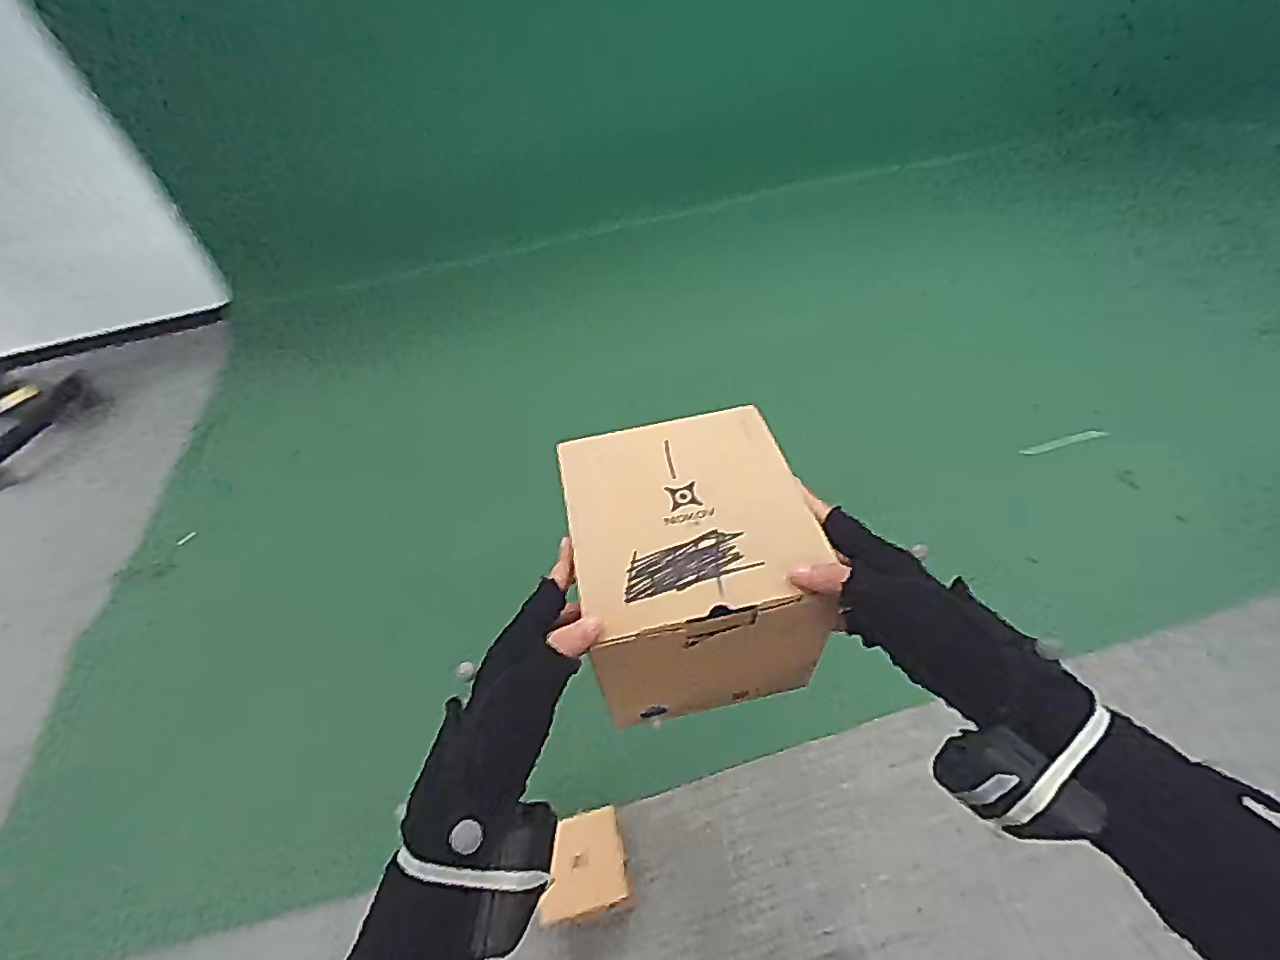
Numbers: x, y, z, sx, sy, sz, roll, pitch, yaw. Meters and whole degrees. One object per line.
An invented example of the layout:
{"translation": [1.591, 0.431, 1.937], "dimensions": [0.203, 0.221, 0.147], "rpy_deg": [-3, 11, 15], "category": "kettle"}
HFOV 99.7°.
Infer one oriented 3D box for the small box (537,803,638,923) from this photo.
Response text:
{"translation": [-0.111, 0.828, 1.166], "dimensions": [0.179, 0.176, 0.168], "rpy_deg": [-14, 48, -6], "category": "small box"}
